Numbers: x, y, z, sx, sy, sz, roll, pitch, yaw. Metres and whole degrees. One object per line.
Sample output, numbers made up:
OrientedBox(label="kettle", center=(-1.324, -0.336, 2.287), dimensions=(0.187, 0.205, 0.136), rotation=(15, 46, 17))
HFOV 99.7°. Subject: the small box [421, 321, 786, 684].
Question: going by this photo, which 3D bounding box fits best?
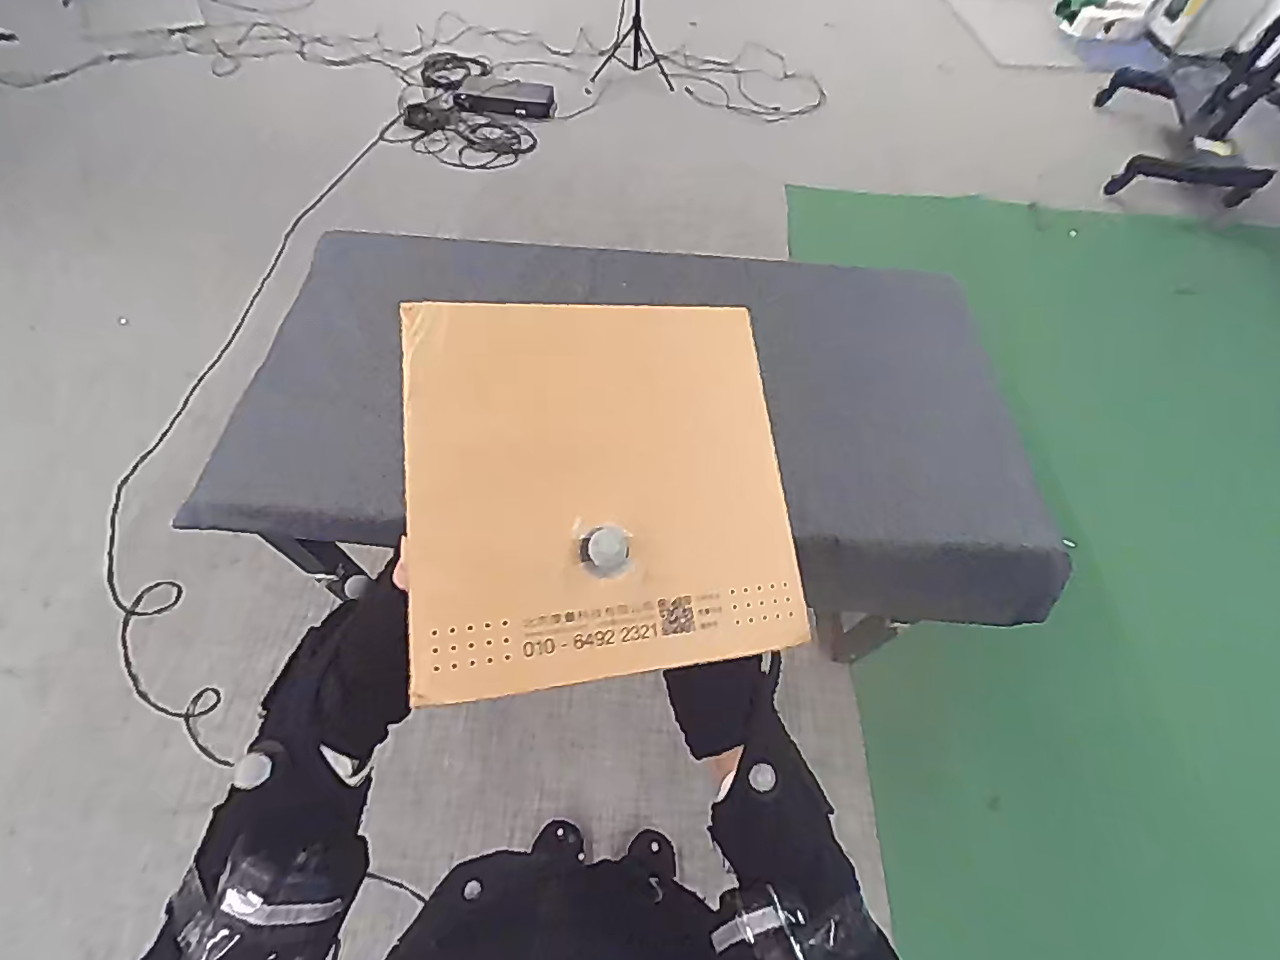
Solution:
OrientedBox(label="small box", center=(-0.034, 0.023, 0.332), dimensions=(0.168, 0.179, 0.176), rotation=(-5, 76, -16))
